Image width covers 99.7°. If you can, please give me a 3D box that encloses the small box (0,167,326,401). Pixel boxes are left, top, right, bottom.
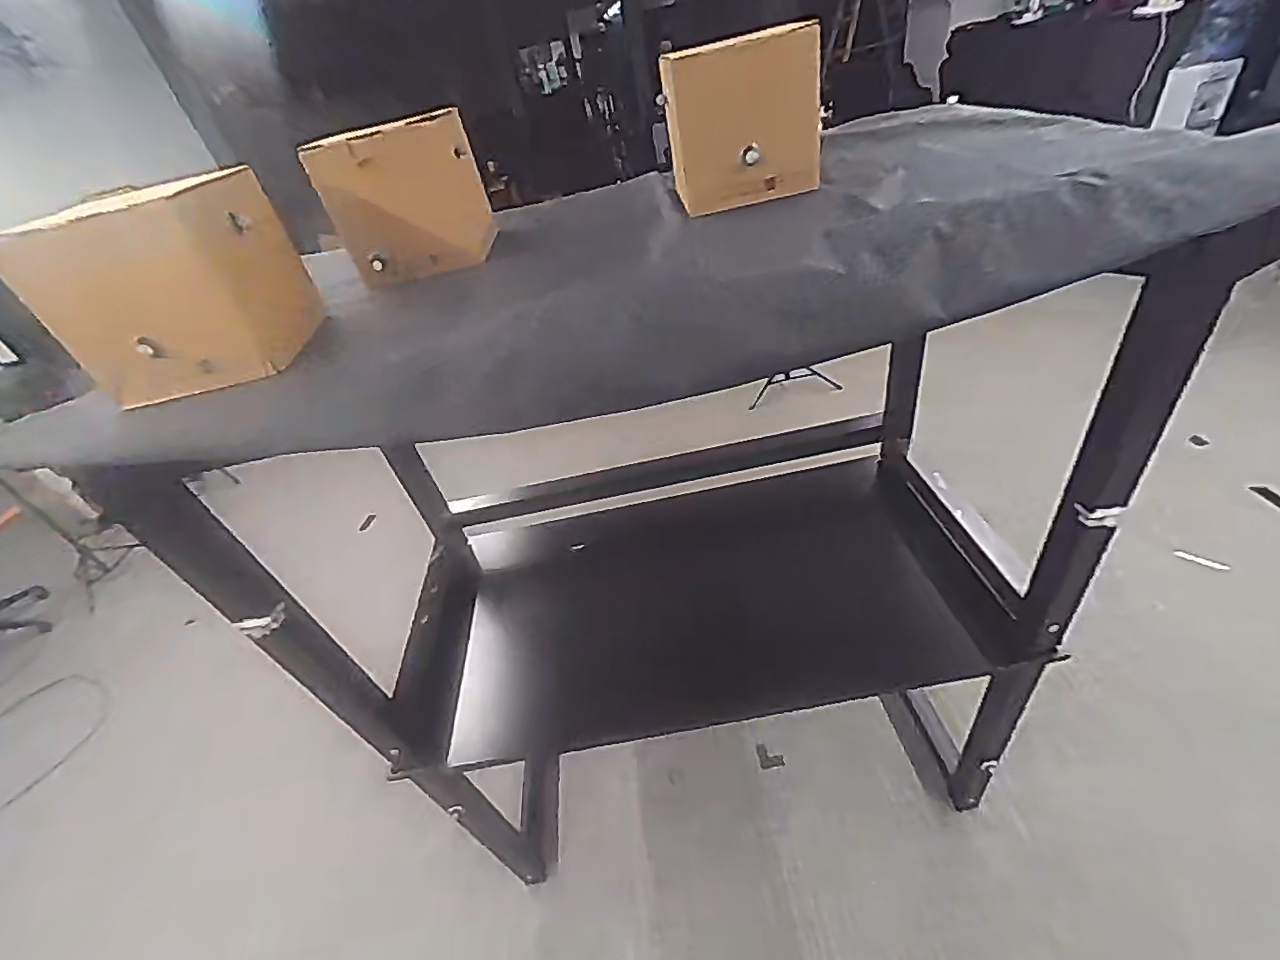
[{"bbox_3d":[-0.464,-0.205,0.562,0.168,0.176,0.179,-14,39,0],"label":"small box"}]

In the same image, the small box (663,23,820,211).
[{"bbox_3d":[0.127,-0.469,0.707,0.168,0.176,0.179,-11,38,5],"label":"small box"}]

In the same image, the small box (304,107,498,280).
[{"bbox_3d":[-0.308,-0.389,0.744,0.168,0.176,0.179,-11,38,3],"label":"small box"}]
